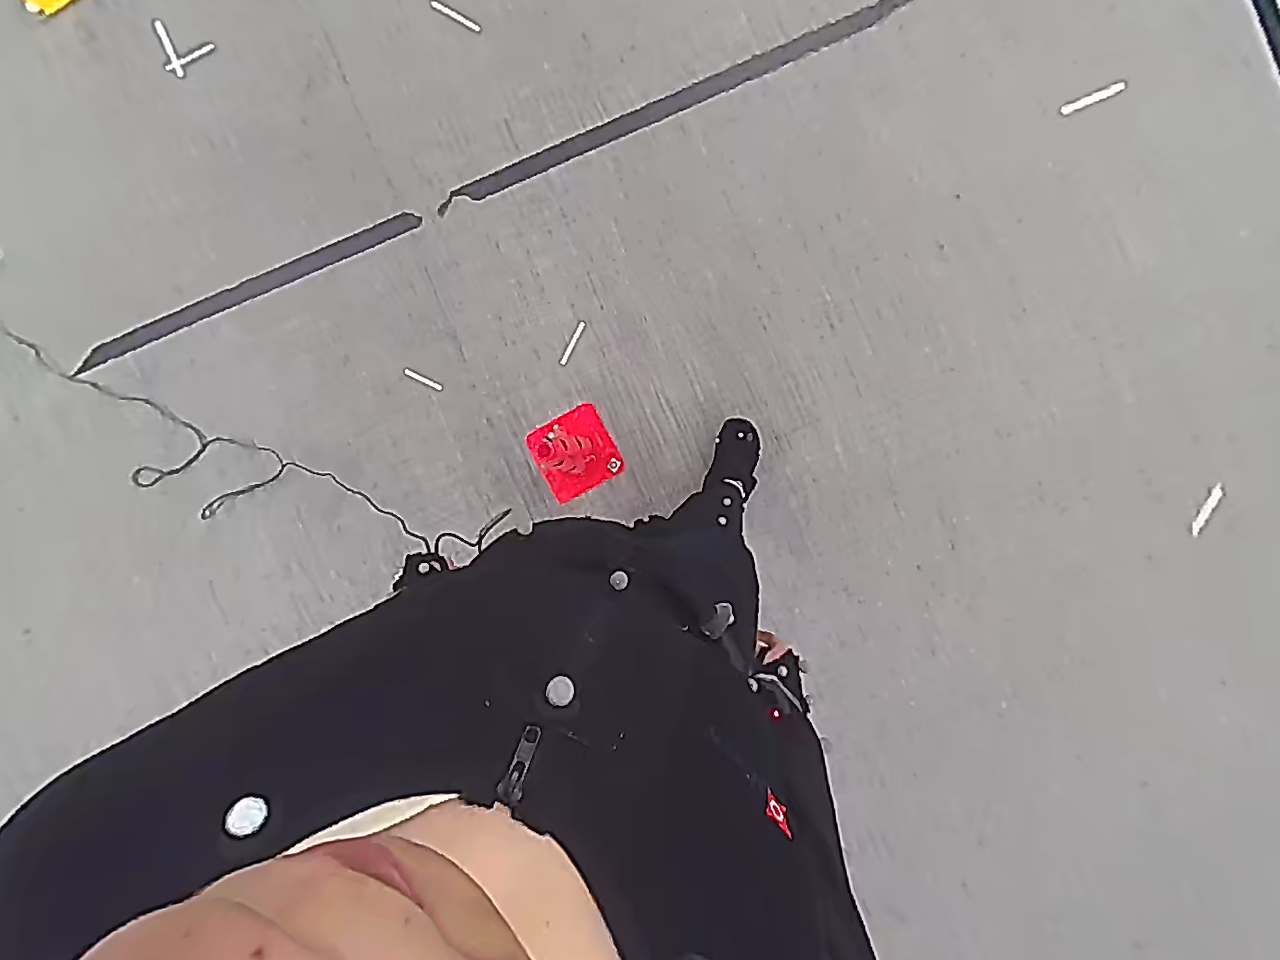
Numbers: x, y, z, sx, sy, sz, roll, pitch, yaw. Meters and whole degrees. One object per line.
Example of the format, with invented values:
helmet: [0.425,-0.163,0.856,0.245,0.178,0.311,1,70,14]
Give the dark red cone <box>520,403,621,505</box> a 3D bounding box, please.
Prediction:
dark red cone: [-0.180,-0.060,1.161,0.202,0.394,0.201,-30,89,4]
